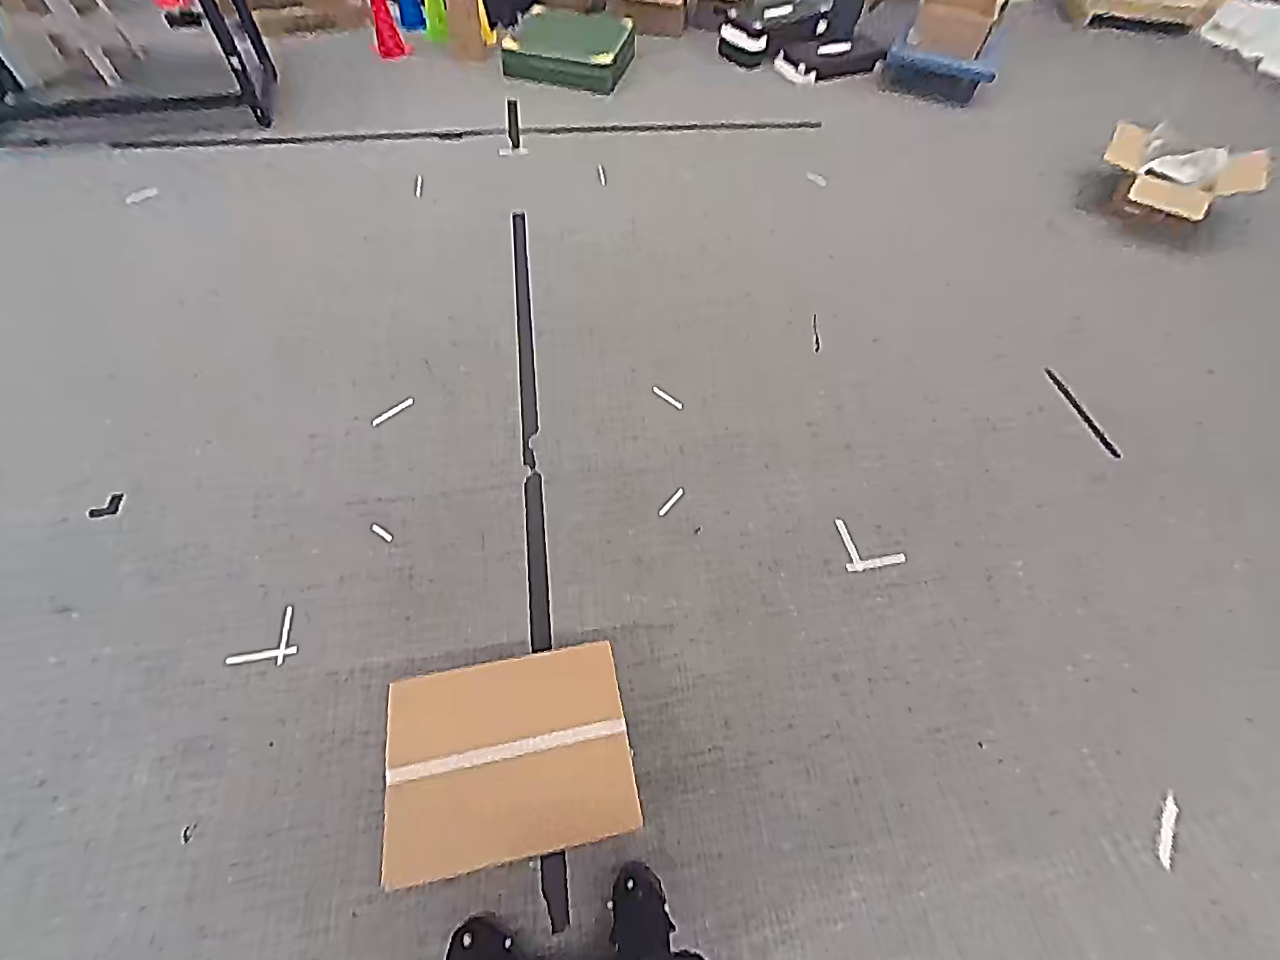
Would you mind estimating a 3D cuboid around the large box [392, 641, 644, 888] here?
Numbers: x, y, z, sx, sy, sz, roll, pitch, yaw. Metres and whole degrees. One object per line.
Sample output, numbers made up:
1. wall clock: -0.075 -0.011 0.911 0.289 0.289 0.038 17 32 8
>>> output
1. large box: -0.225 0.546 1.053 0.408 0.320 0.320 -9 59 -9
